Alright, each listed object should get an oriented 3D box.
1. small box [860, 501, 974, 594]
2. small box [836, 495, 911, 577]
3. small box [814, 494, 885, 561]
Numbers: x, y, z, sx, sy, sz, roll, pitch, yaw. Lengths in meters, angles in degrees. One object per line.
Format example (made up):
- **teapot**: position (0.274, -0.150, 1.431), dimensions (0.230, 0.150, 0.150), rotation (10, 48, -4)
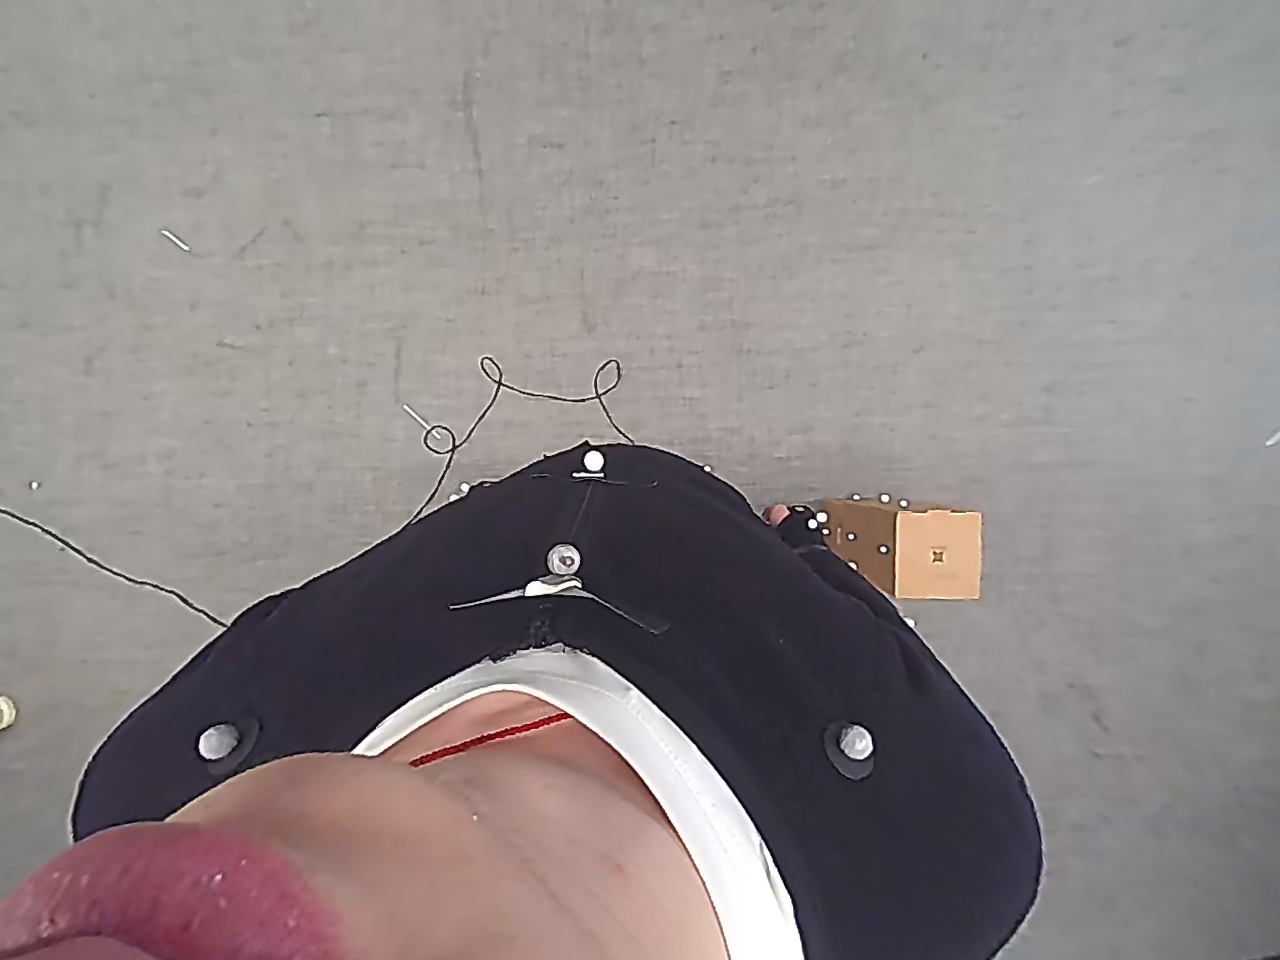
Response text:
- **small box**: position (0.587, 0.138, 1.166), dimensions (0.168, 0.176, 0.179), rotation (-1, 95, 1)
- **small box**: position (0.594, 0.135, 1.325), dimensions (0.168, 0.176, 0.179), rotation (1, 94, -2)
- **small box**: position (0.594, 0.129, 1.512), dimensions (0.179, 0.176, 0.168), rotation (-3, 93, 0)
